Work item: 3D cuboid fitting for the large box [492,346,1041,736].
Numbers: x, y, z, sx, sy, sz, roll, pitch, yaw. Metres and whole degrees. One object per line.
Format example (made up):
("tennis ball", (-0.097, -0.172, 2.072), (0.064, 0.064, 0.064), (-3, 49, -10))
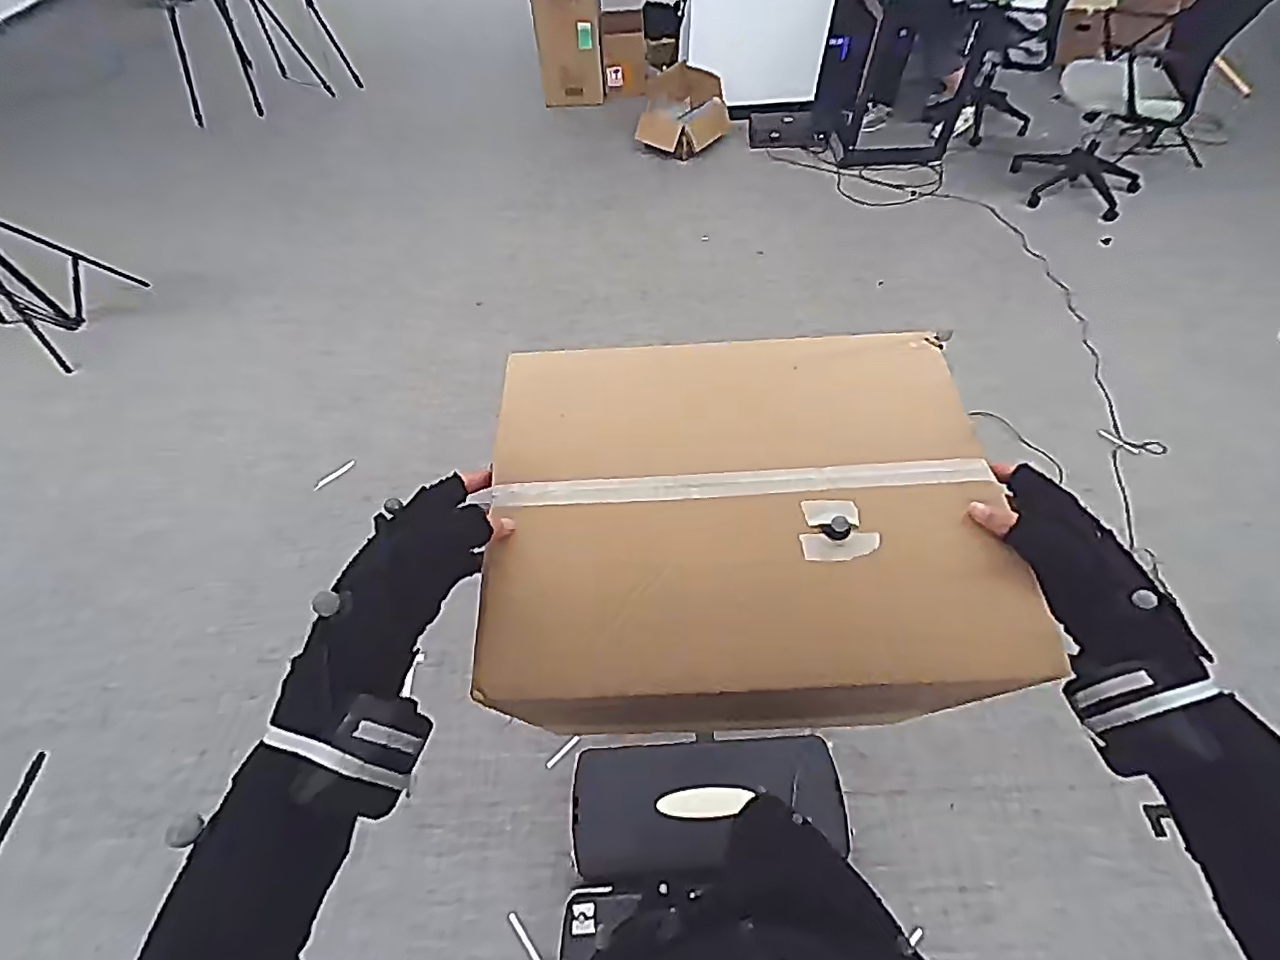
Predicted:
("large box", (0.086, 0.085, 0.586), (0.408, 0.320, 0.320), (-3, 61, 1))

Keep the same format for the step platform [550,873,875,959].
("step platform", (0.149, 1.039, 1.156), (0.684, 0.204, 0.286), (-5, 56, 1))
